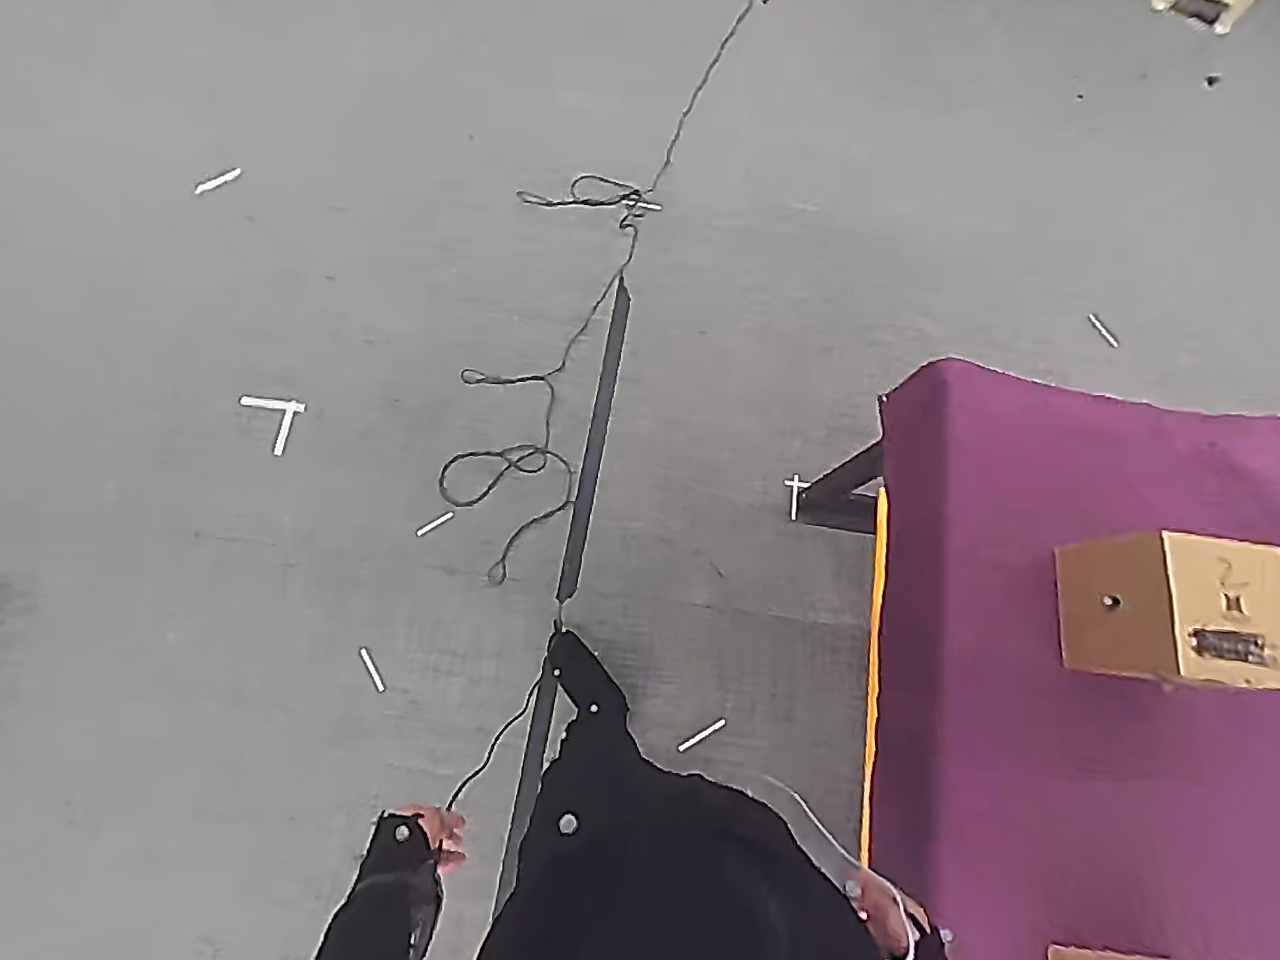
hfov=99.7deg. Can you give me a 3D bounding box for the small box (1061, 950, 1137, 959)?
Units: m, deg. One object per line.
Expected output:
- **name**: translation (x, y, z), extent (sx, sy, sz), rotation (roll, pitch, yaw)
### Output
- **small box**: translation (0.597, 0.668, 0.598), extent (0.179, 0.176, 0.168), rotation (10, 75, -2)
